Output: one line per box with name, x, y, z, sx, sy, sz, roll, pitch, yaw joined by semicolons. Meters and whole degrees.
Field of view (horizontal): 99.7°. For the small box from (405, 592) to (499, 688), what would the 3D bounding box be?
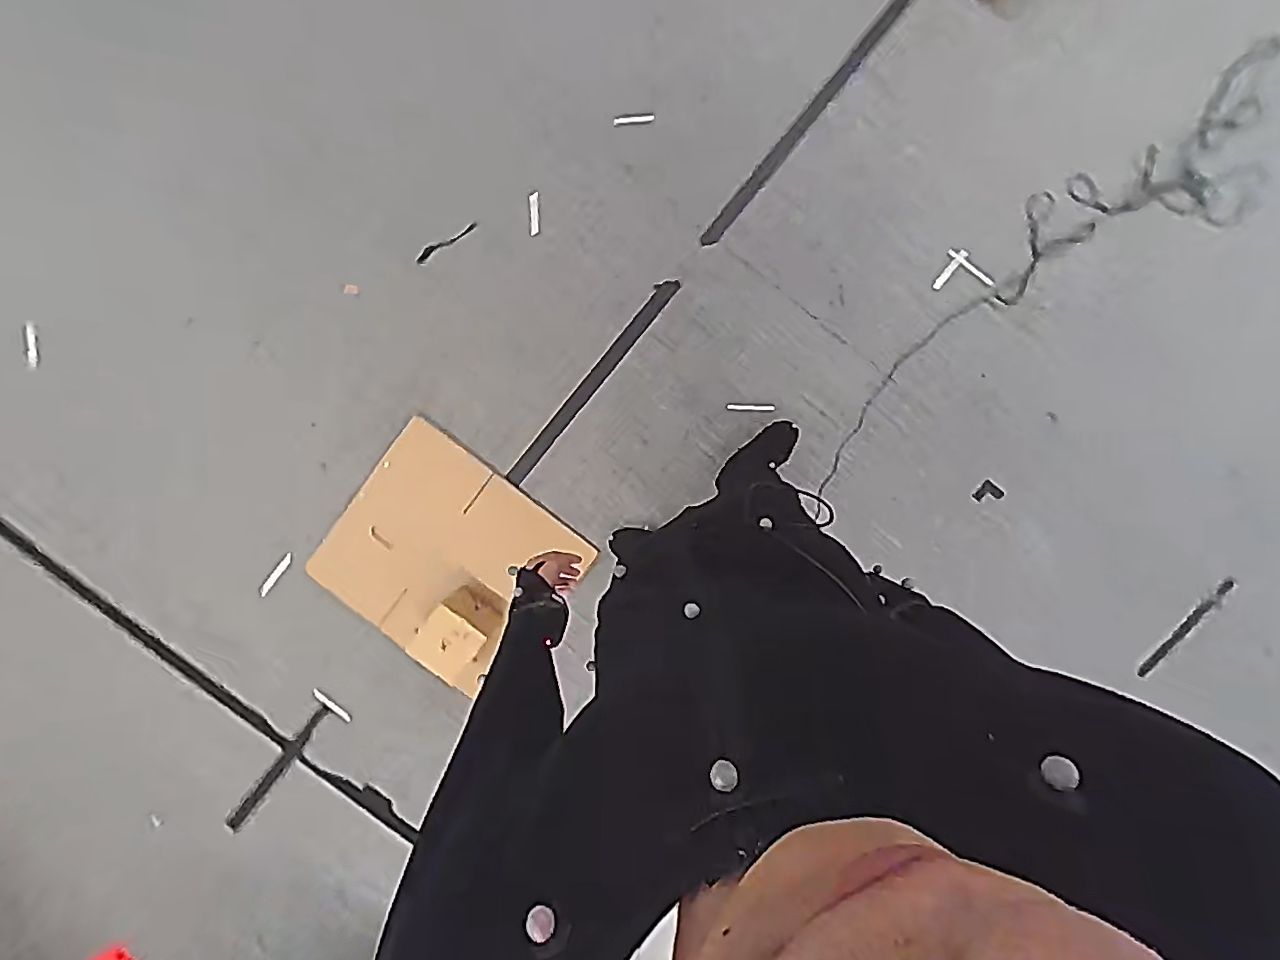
small box;-0.533;0.456;1.567;0.168;0.176;0.179;37;93;-2
